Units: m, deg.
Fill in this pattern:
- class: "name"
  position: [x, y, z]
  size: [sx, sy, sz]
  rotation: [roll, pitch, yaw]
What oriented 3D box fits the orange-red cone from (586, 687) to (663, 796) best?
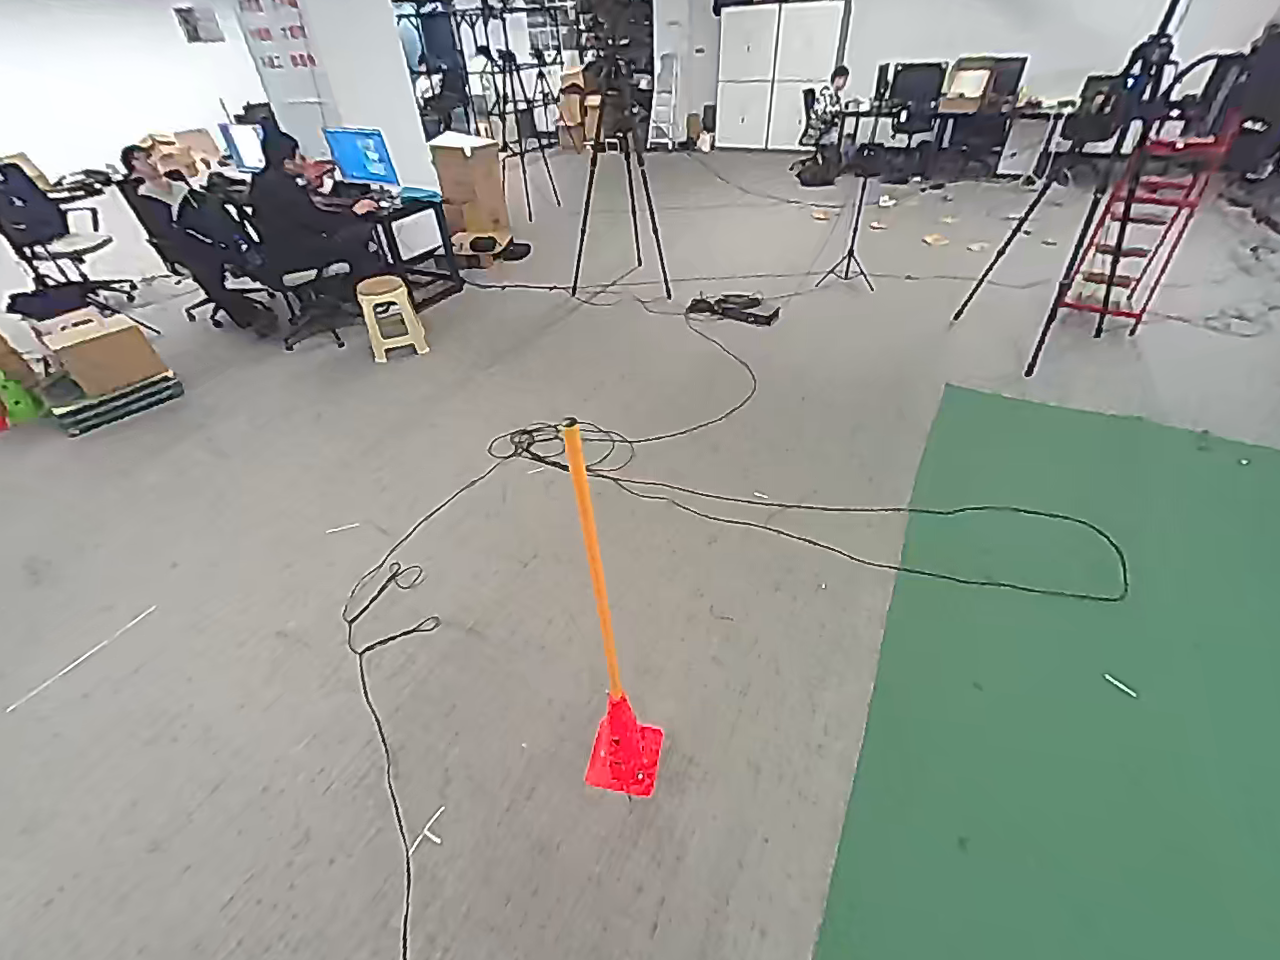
- class: "orange-red cone"
  position: [-0.048, 0.676, 1.483]
  size: [0.198, 0.360, 0.199]
  rotation: [7, 40, 12]
